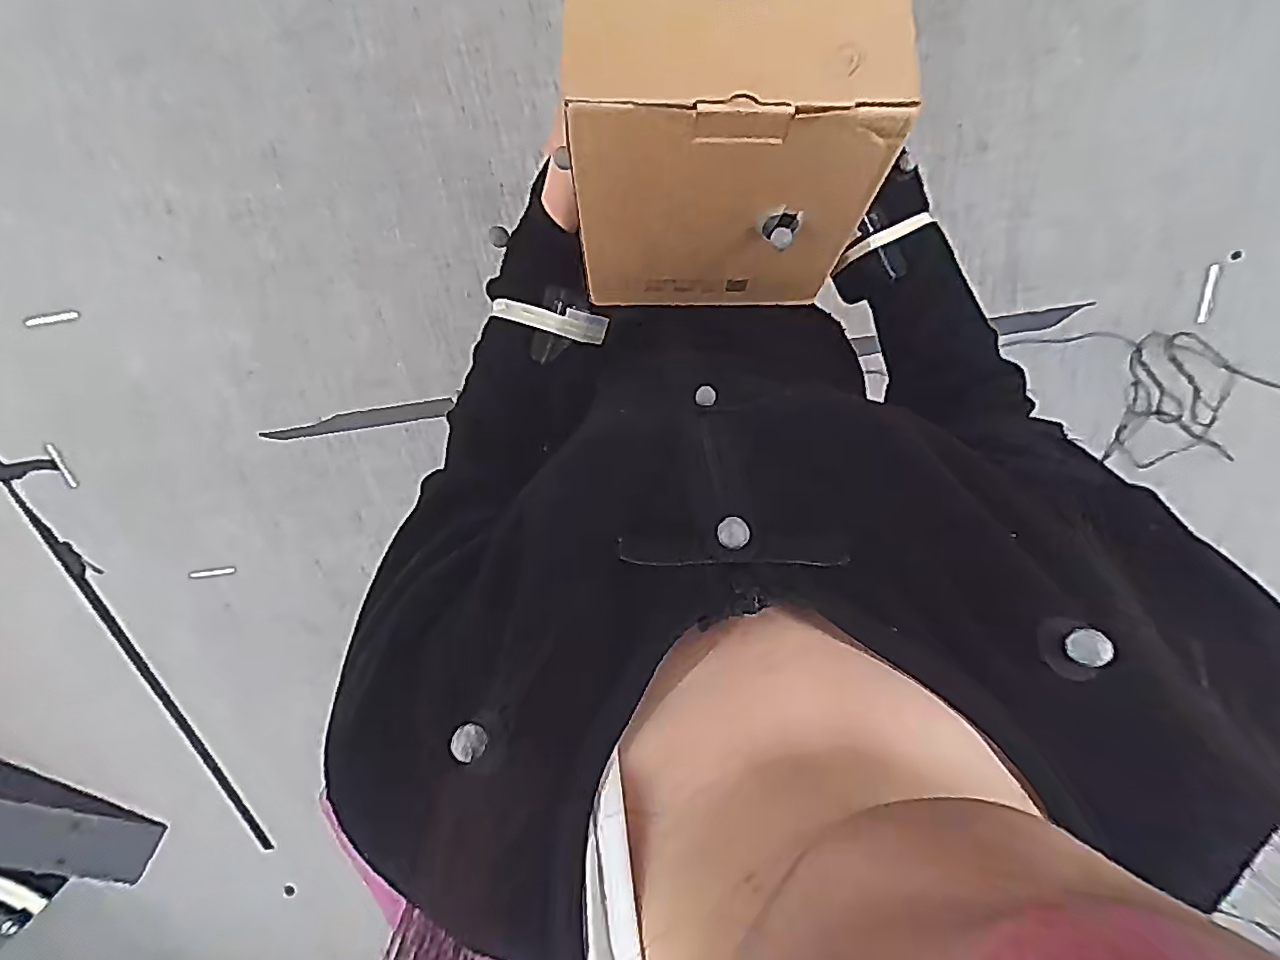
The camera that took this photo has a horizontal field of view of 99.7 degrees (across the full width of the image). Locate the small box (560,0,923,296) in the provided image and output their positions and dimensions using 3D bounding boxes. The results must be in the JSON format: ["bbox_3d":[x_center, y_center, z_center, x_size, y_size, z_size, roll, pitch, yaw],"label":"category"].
[{"bbox_3d":[0.045,-0.233,0.338,0.168,0.176,0.179,0,76,-1],"label":"small box"}]
